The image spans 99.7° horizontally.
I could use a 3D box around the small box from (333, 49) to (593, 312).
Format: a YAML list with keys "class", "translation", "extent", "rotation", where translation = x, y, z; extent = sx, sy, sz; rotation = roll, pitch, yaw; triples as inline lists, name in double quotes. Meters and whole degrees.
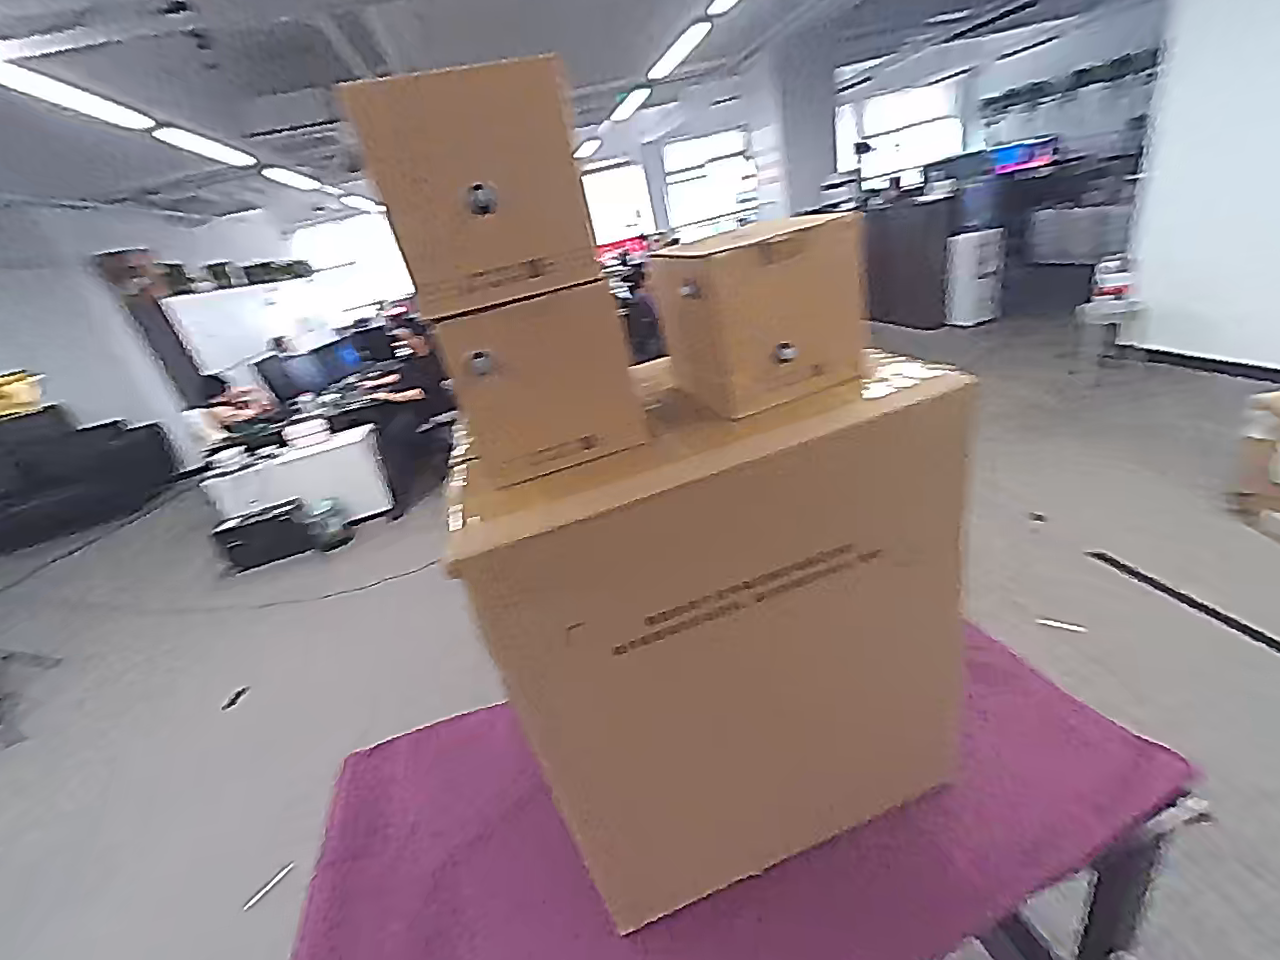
- class: "small box"
  translation: [-0.154, -0.261, 0.504]
  extent: [0.168, 0.176, 0.179]
  rotation: [-19, 26, -14]

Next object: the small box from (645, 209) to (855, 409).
- class: "small box"
  translation: [0.122, -0.194, 0.617]
  extent: [0.168, 0.176, 0.179]
  rotation: [-20, 27, -11]
